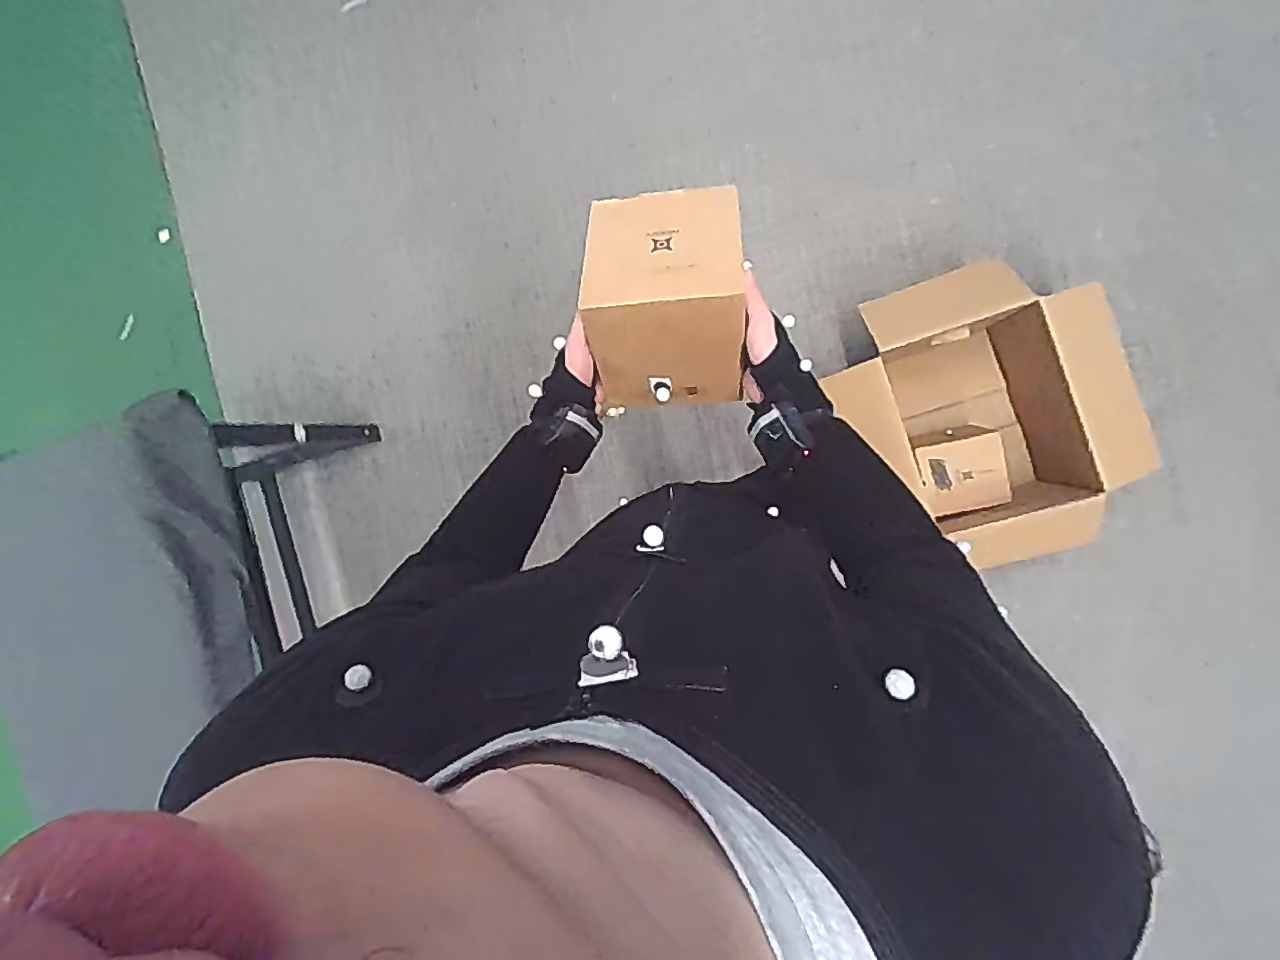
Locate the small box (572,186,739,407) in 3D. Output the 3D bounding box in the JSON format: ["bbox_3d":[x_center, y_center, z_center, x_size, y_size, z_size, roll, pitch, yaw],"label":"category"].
[{"bbox_3d":[0.027,-0.206,0.632,0.168,0.176,0.179,-2,61,8],"label":"small box"}]
